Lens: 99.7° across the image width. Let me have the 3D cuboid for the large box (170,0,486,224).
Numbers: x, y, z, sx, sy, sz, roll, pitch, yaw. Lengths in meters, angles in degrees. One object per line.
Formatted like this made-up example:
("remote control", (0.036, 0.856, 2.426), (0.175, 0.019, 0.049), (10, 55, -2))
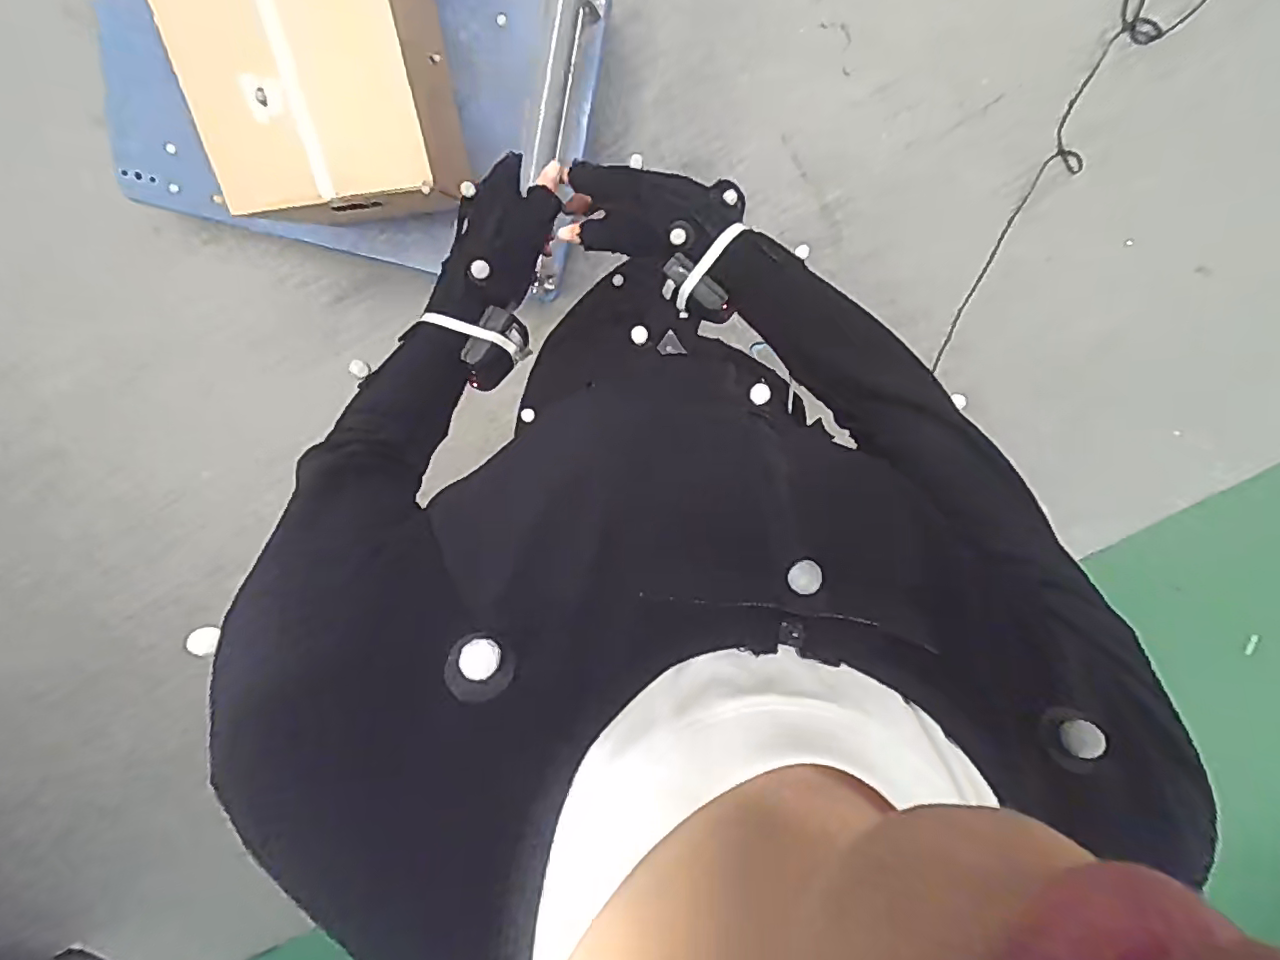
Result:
("large box", (-0.480, -0.668, 0.888), (0.320, 0.320, 0.408), (-9, 113, 1))
